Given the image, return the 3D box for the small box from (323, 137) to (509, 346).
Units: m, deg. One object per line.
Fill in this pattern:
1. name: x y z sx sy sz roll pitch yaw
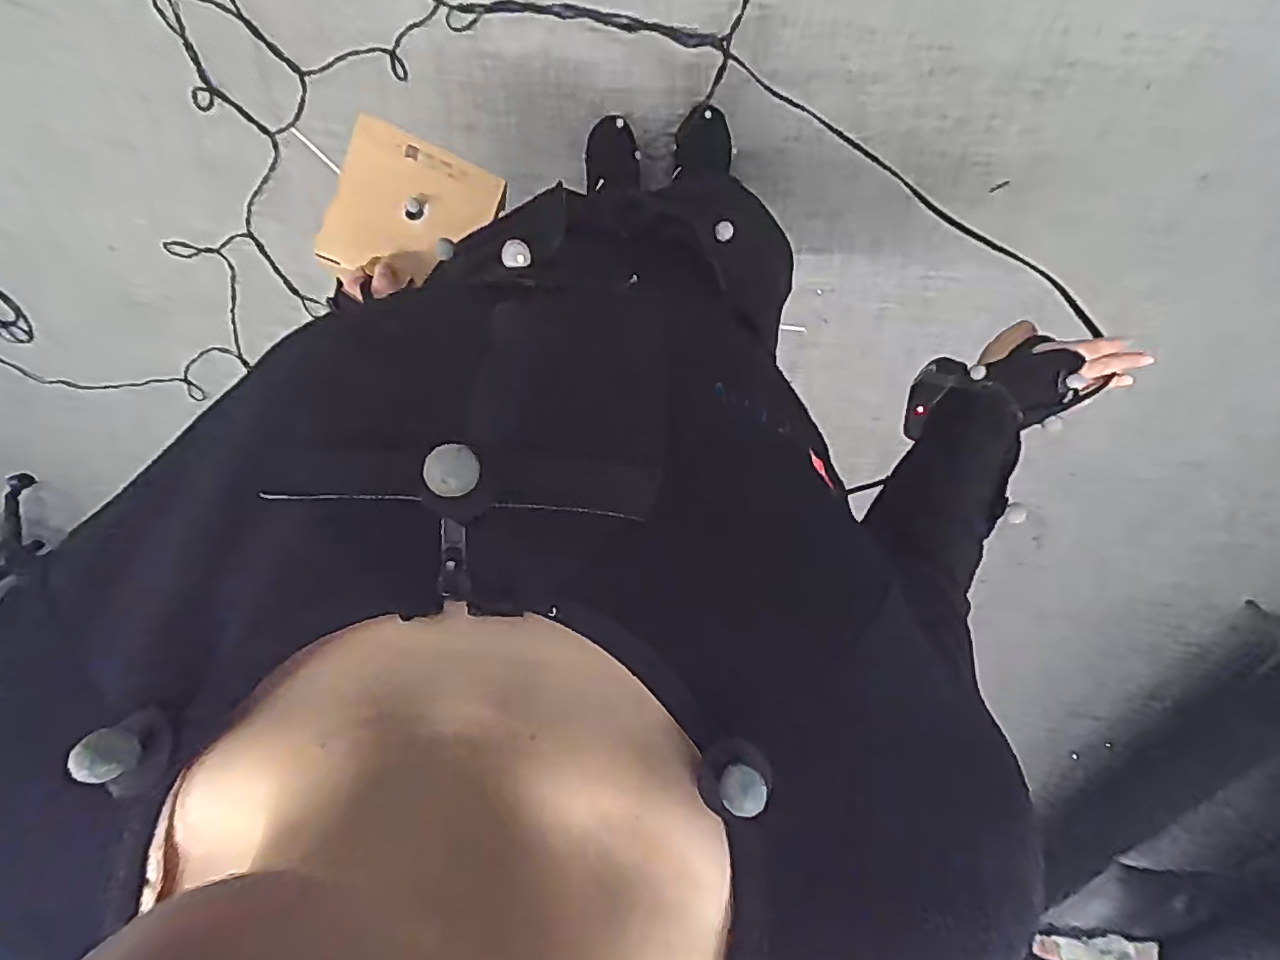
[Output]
1. small box: -0.278 -0.297 0.704 0.168 0.179 0.176 20 88 -17
